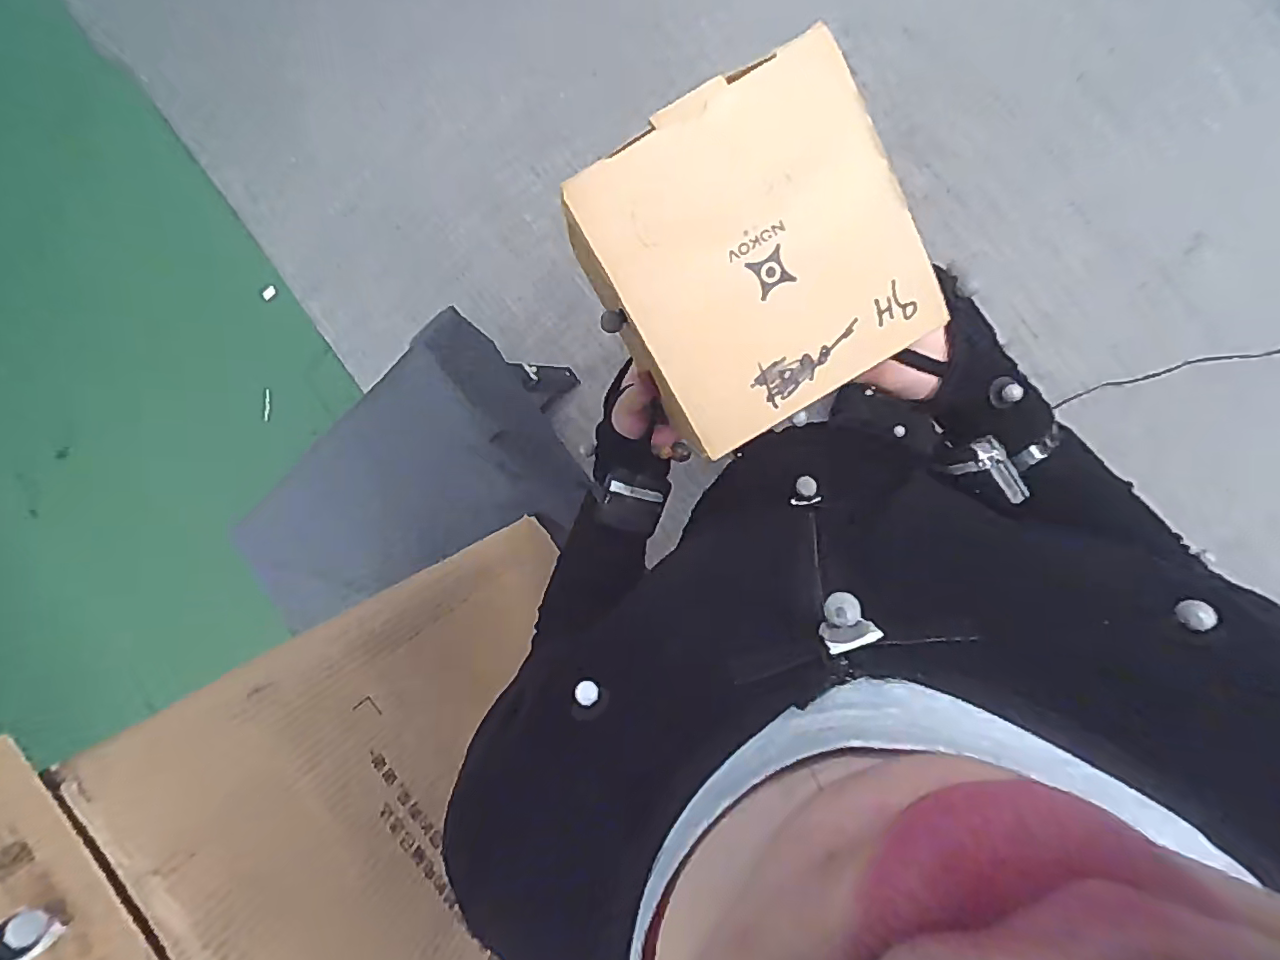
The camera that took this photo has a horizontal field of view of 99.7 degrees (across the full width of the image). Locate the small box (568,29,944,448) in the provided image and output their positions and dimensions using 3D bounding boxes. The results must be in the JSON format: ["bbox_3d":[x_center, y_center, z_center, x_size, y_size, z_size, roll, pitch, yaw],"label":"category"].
[{"bbox_3d":[0.063,-0.144,0.384,0.168,0.176,0.179,-30,103,2],"label":"small box"}]
